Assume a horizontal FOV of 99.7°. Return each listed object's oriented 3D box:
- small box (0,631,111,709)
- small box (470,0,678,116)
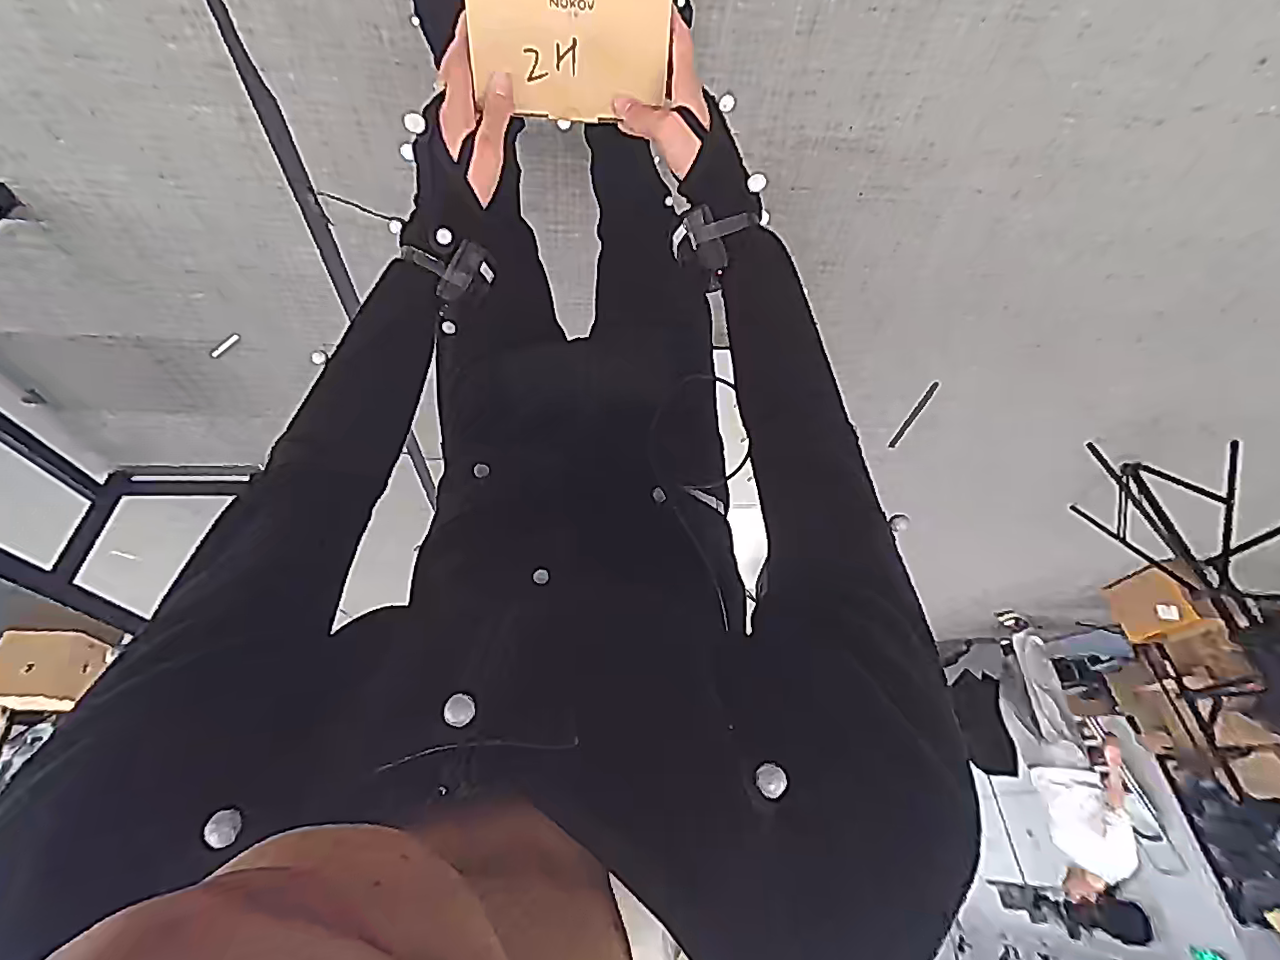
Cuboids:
[{"bbox_3d":[-1.594,0.512,1.458,0.179,0.176,0.168,3,146,-8],"label":"small box"},{"bbox_3d":[-0.063,-0.436,0.477,0.168,0.176,0.179,-3,128,-9],"label":"small box"}]
